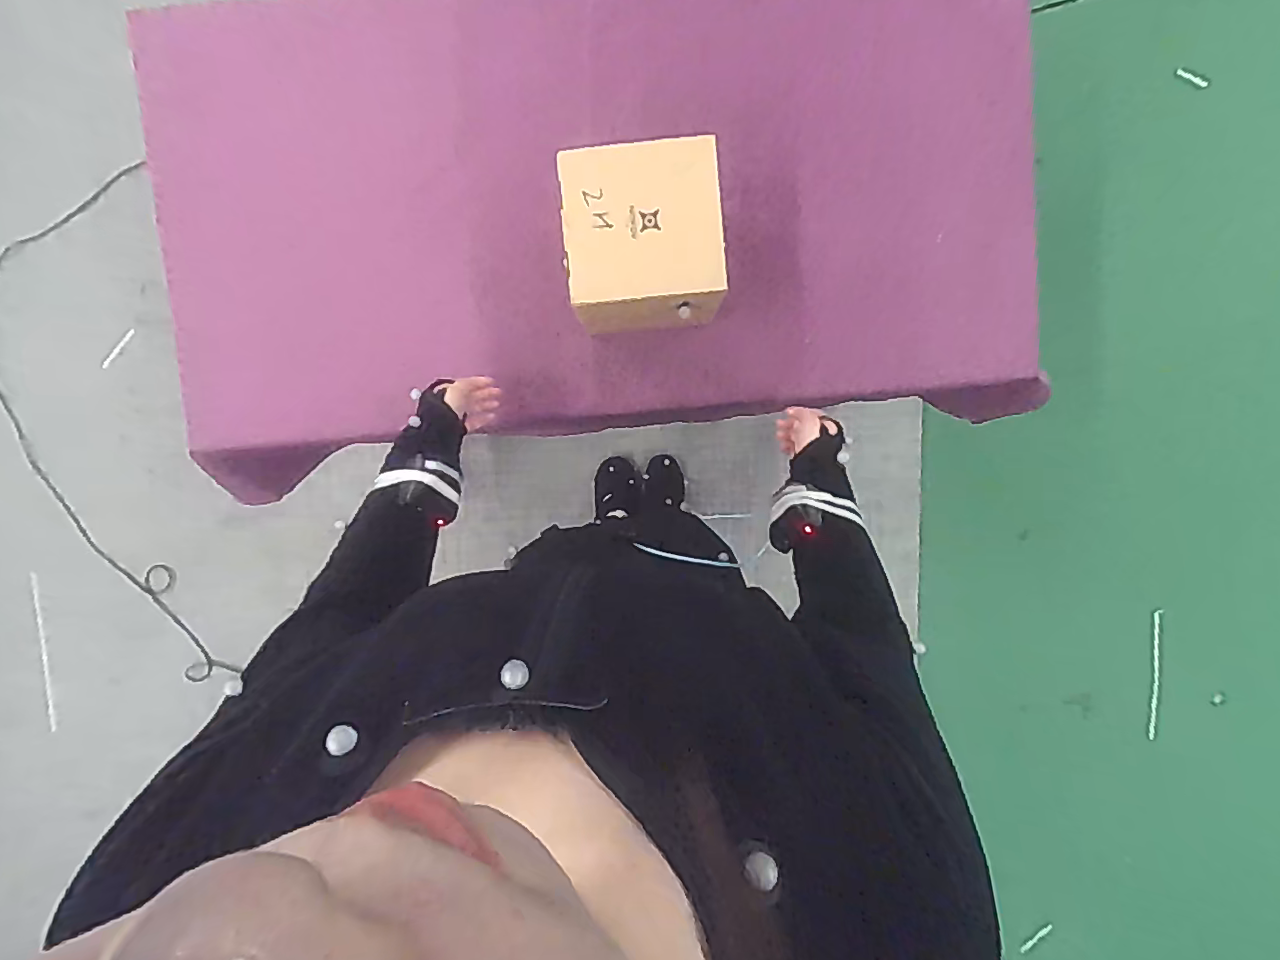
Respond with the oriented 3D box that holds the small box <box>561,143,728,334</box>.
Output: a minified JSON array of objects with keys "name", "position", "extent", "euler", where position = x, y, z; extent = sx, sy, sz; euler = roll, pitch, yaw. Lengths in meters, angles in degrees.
[{"name":"small box","position":[0.006,-0.285,0.672],"extent":[0.179,0.176,0.168],"euler":[-5,93,2]}]
